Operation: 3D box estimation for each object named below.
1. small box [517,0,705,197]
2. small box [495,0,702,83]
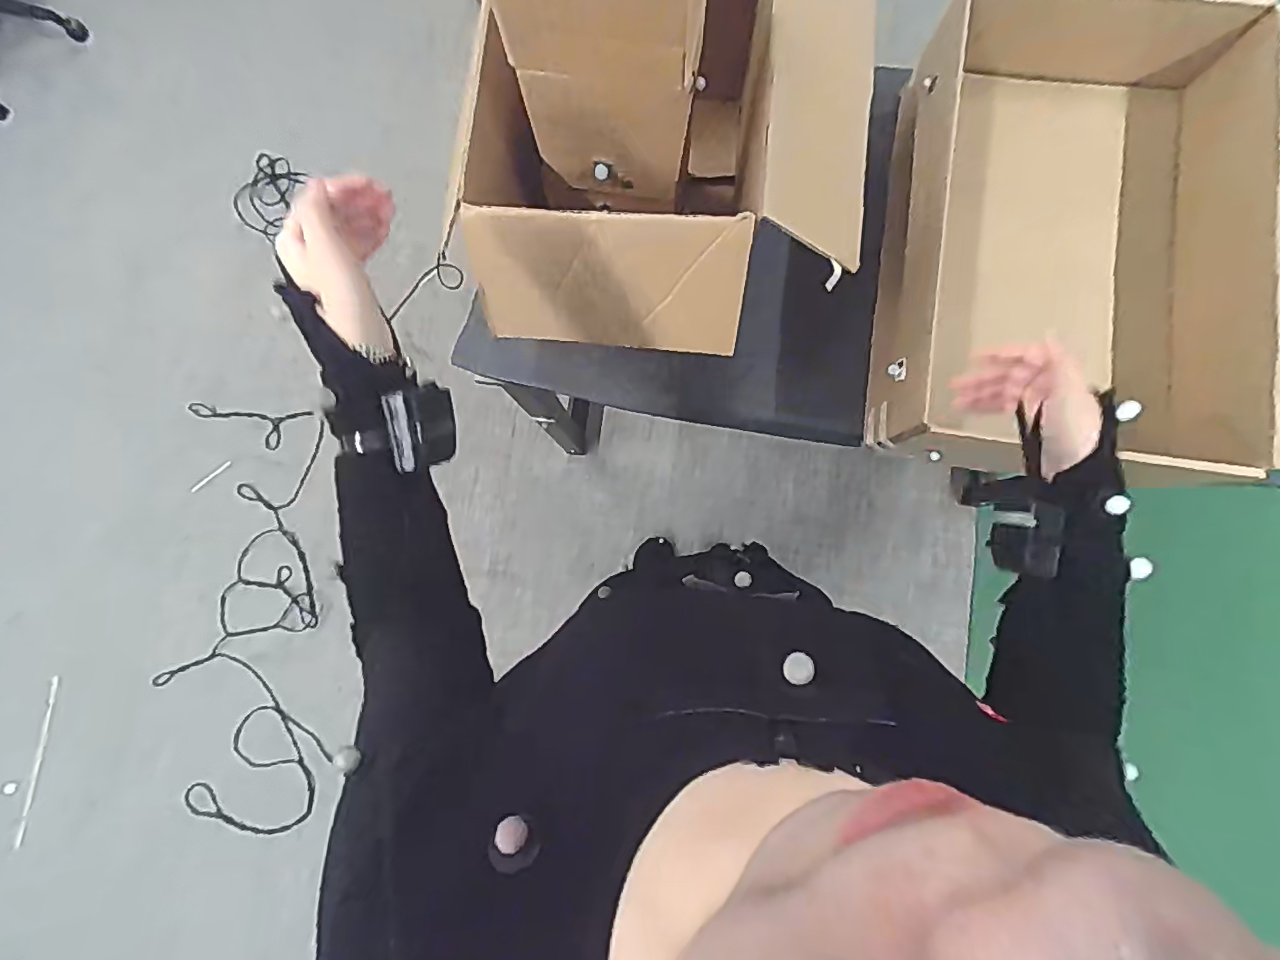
[{"bbox_3d":[-0.024,-0.460,0.609,0.168,0.176,0.179,10,86,3],"label":"small box"},{"bbox_3d":[-0.031,-0.475,0.448,0.179,0.176,0.168,11,84,3],"label":"small box"}]
